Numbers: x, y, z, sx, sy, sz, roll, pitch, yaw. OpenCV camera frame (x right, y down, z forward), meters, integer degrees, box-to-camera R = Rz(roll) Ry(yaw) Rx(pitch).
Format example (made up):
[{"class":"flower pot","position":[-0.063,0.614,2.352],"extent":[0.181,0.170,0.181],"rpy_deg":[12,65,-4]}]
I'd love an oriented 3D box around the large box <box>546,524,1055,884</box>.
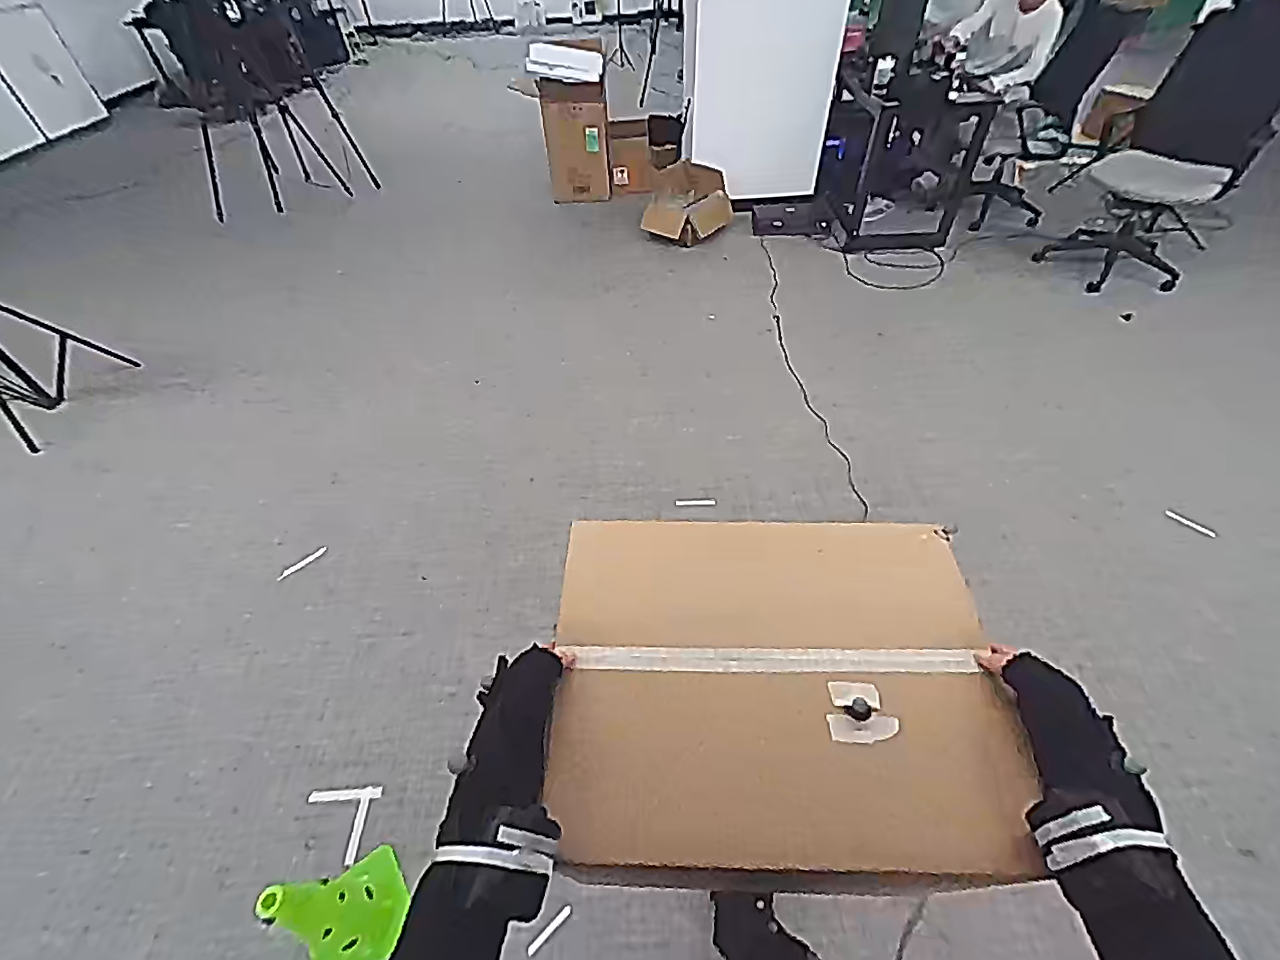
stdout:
[{"class":"large box","position":[0.125,0.263,0.625],"extent":[0.408,0.320,0.320],"rpy_deg":[0,51,1]}]

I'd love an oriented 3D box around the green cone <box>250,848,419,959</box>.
[{"class":"green cone","position":[-0.600,0.814,1.015],"extent":[0.202,0.368,0.200],"rpy_deg":[-32,52,-22]}]
